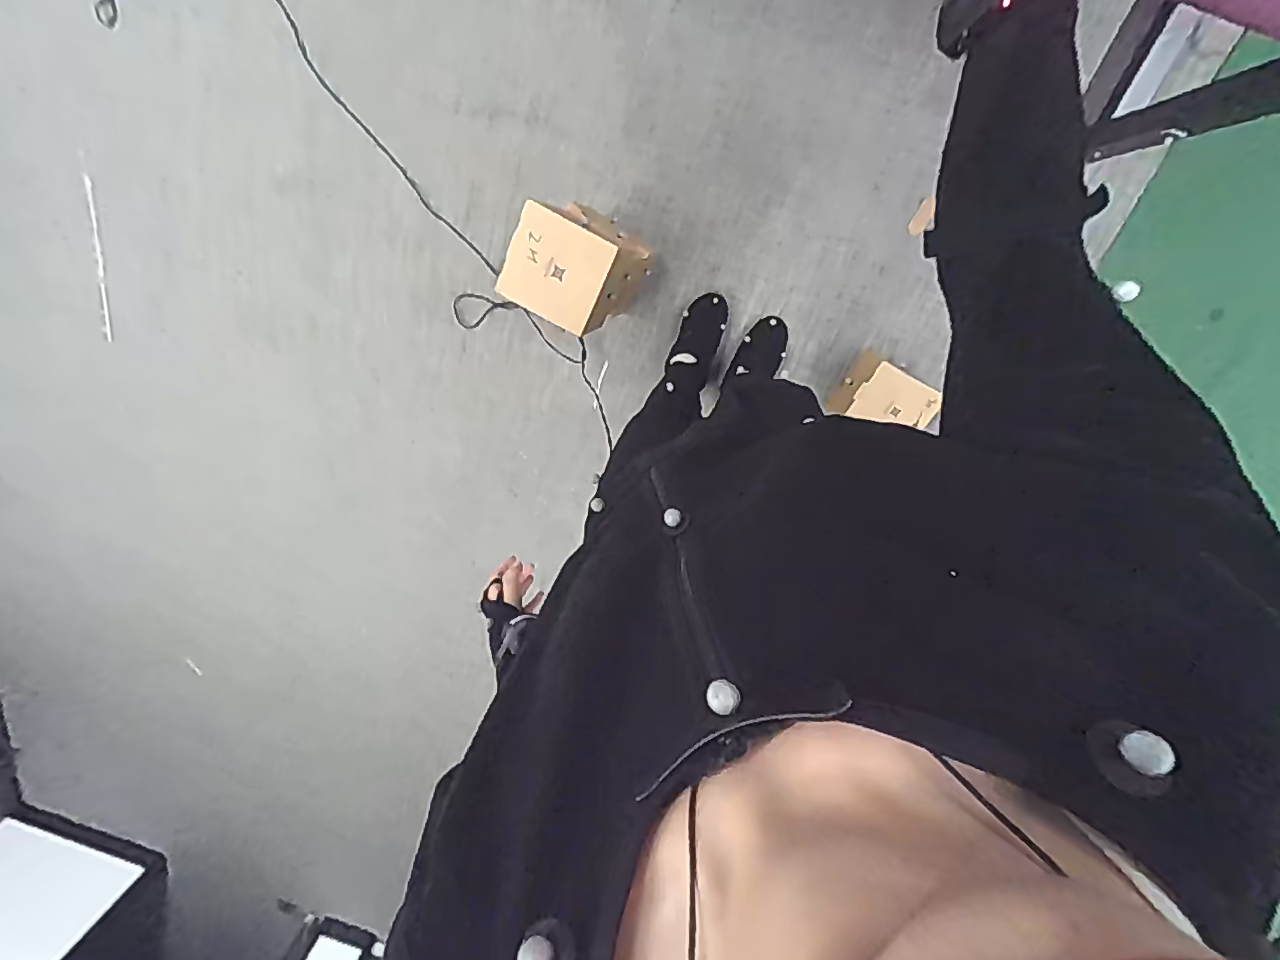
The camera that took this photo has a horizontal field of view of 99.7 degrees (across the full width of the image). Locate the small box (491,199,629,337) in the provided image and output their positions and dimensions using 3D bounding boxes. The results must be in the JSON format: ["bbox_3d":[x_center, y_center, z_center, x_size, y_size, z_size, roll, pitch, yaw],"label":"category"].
[{"bbox_3d":[-0.137,-0.386,0.992,0.179,0.176,0.168,29,112,-2],"label":"small box"}]

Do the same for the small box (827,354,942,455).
[{"bbox_3d":[0.579,-0.191,1.311,0.179,0.176,0.168,29,114,-3],"label":"small box"}]

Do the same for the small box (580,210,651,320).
[{"bbox_3d":[-0.086,-0.511,1.289,0.168,0.176,0.179,35,114,-5],"label":"small box"}]
